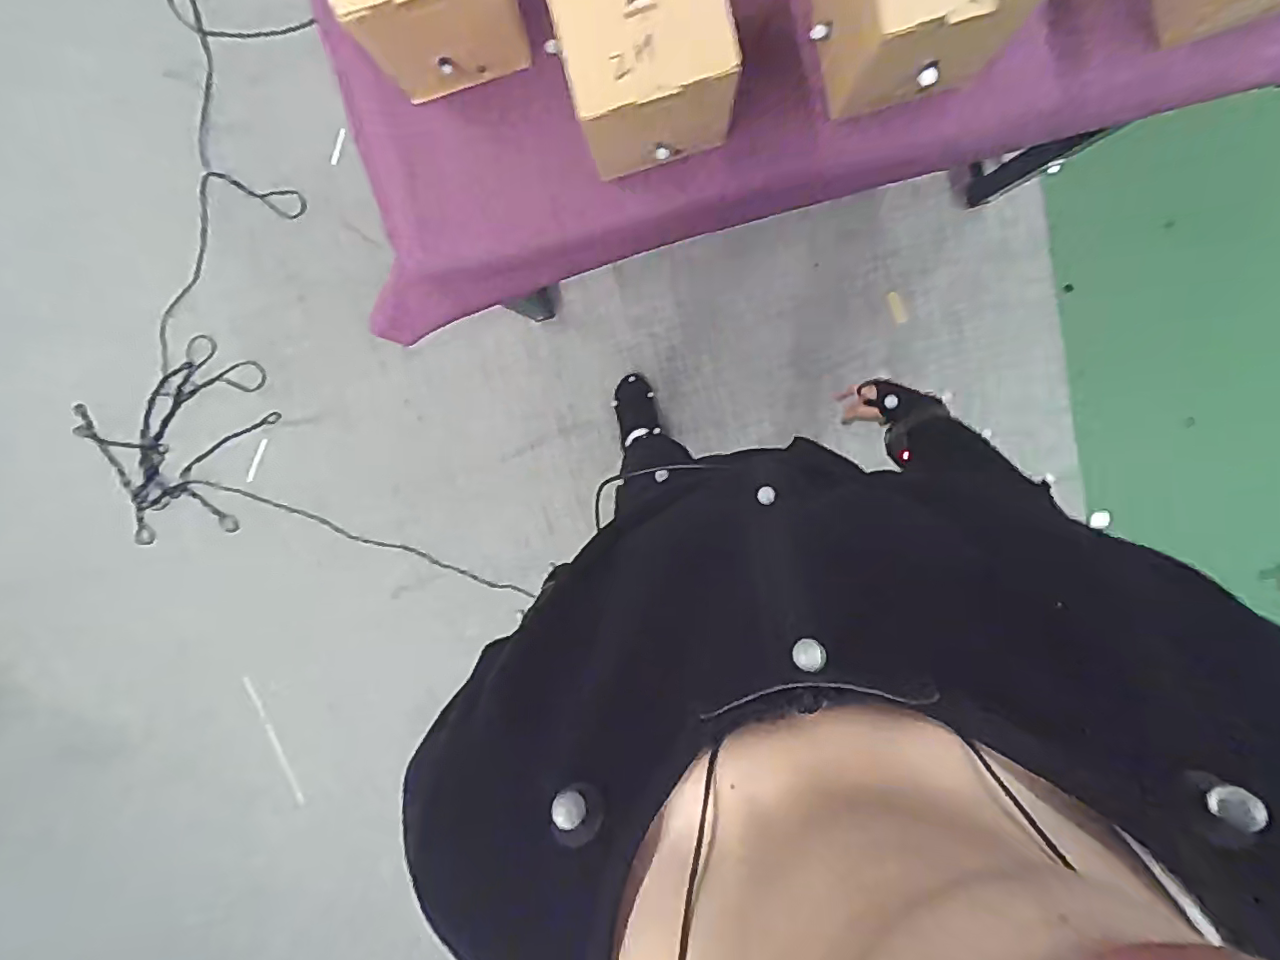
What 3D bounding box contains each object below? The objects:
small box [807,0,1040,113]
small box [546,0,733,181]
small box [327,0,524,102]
[{"bbox_3d":[0.289,-0.530,0.577,0.168,0.176,0.179,-13,98,5],"label":"small box"},{"bbox_3d":[-0.003,-0.472,0.601,0.168,0.176,0.179,-14,98,6],"label":"small box"},{"bbox_3d":[-0.245,-0.571,0.598,0.168,0.176,0.179,-14,99,5],"label":"small box"}]
